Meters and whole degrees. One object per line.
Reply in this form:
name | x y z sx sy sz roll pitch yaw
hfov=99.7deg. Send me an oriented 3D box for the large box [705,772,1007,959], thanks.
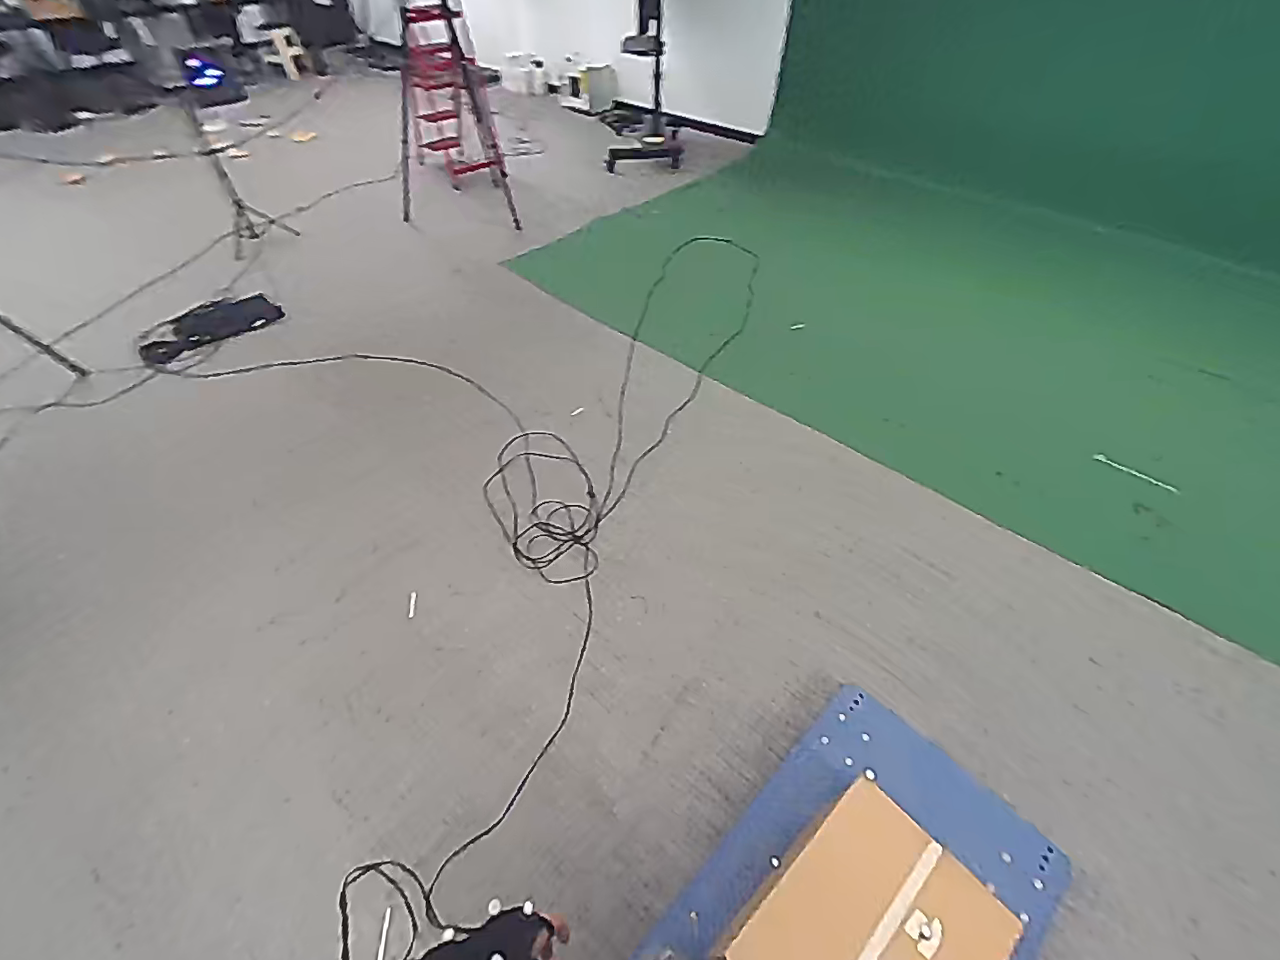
large box | 0.374 0.854 1.004 0.408 0.320 0.320 -33 57 -28
